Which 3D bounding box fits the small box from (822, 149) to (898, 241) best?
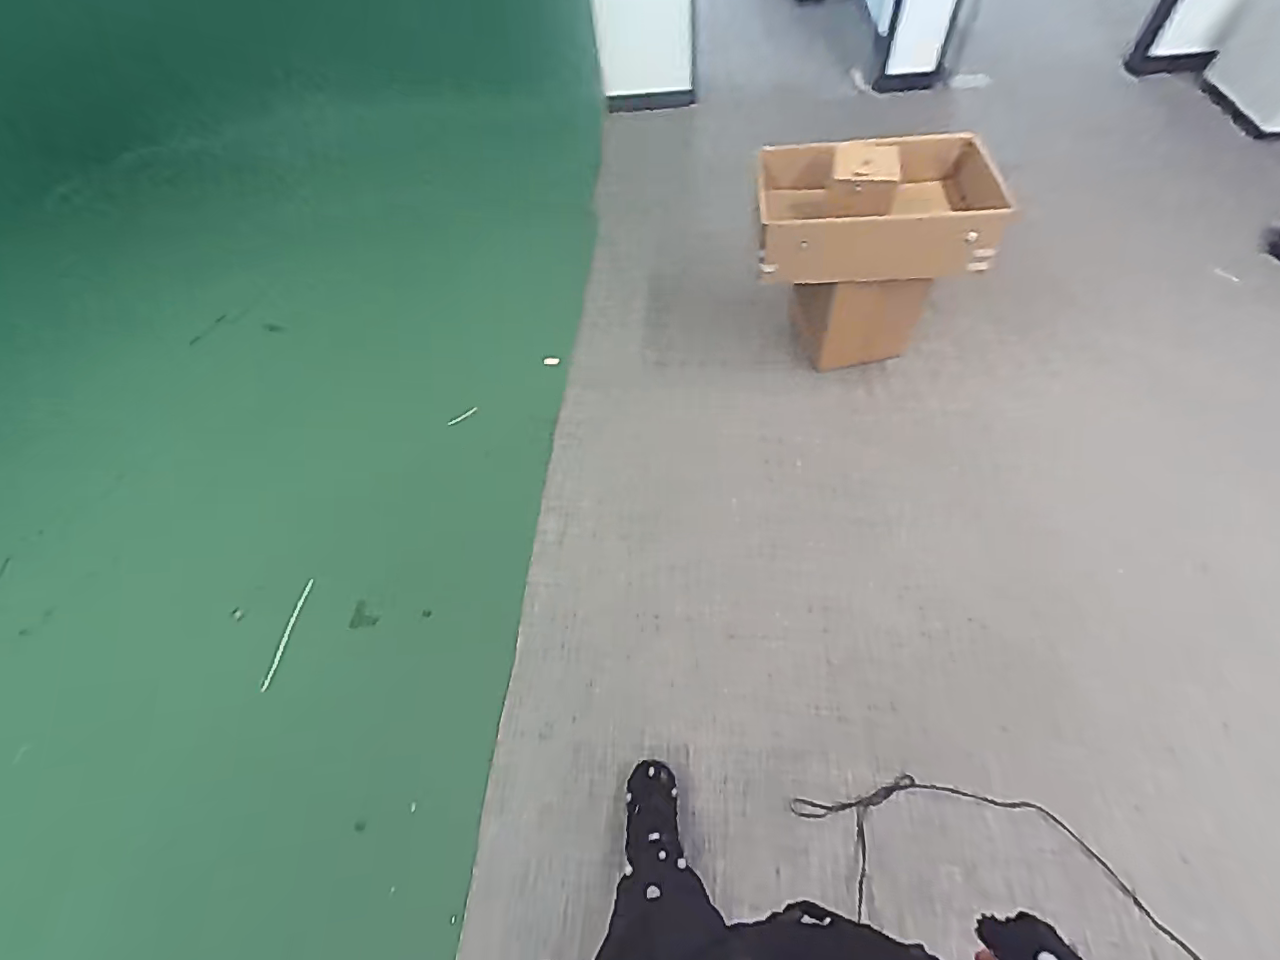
[{"bbox_3d":[0.614,-0.805,1.526,0.168,0.176,0.179,6,58,11],"label":"small box"}]
